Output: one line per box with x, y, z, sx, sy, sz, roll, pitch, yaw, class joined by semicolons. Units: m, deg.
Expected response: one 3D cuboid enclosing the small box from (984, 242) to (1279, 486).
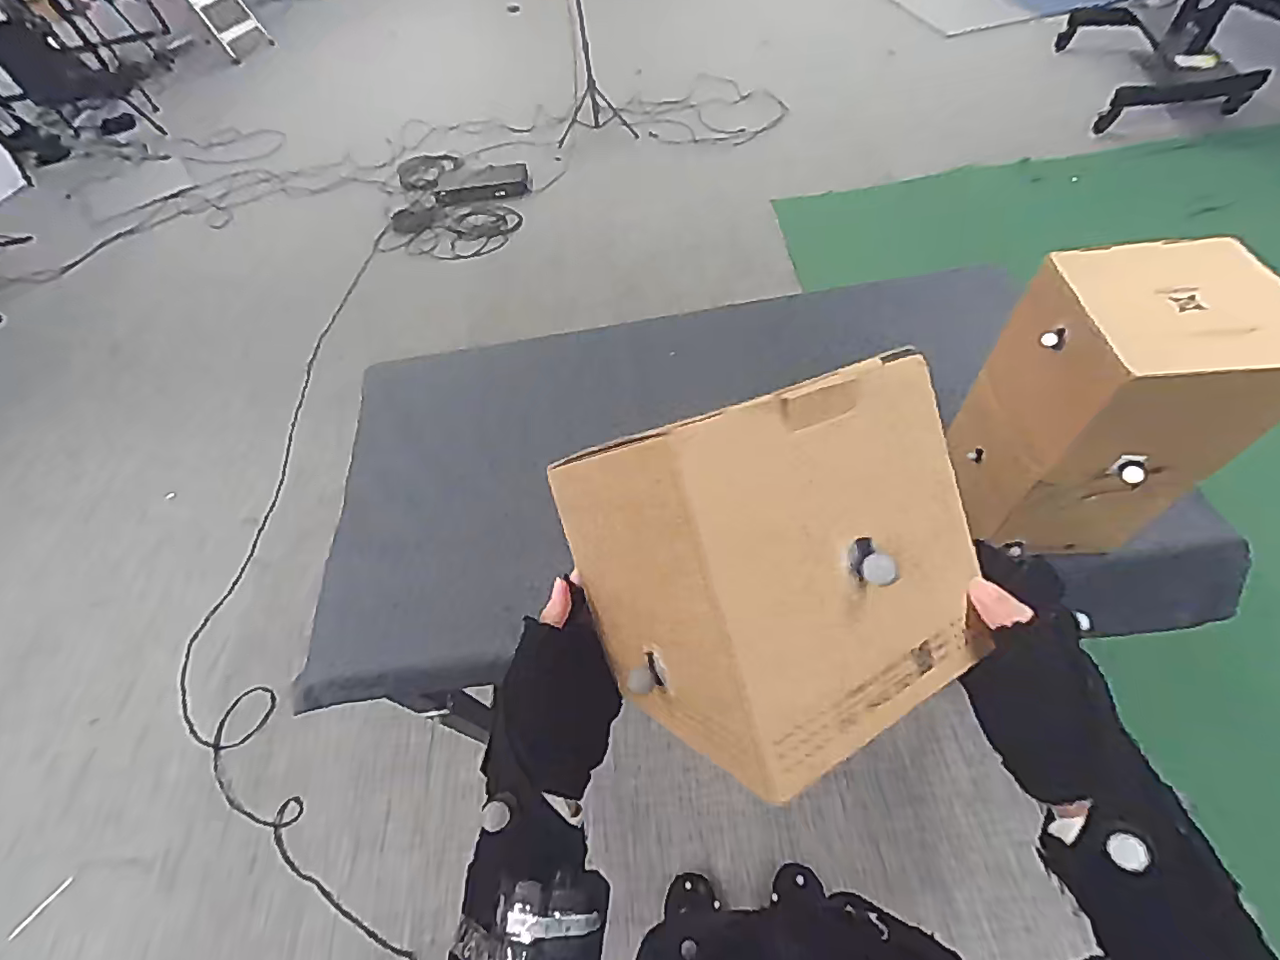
0.489;-0.112;0.553;0.168;0.176;0.179;-3;57;7;small box

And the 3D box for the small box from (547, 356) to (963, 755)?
0.065;0.039;0.342;0.168;0.179;0.176;-18;94;-28;small box

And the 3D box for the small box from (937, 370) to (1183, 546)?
0.509;-0.025;0.688;0.168;0.176;0.179;-2;55;6;small box
